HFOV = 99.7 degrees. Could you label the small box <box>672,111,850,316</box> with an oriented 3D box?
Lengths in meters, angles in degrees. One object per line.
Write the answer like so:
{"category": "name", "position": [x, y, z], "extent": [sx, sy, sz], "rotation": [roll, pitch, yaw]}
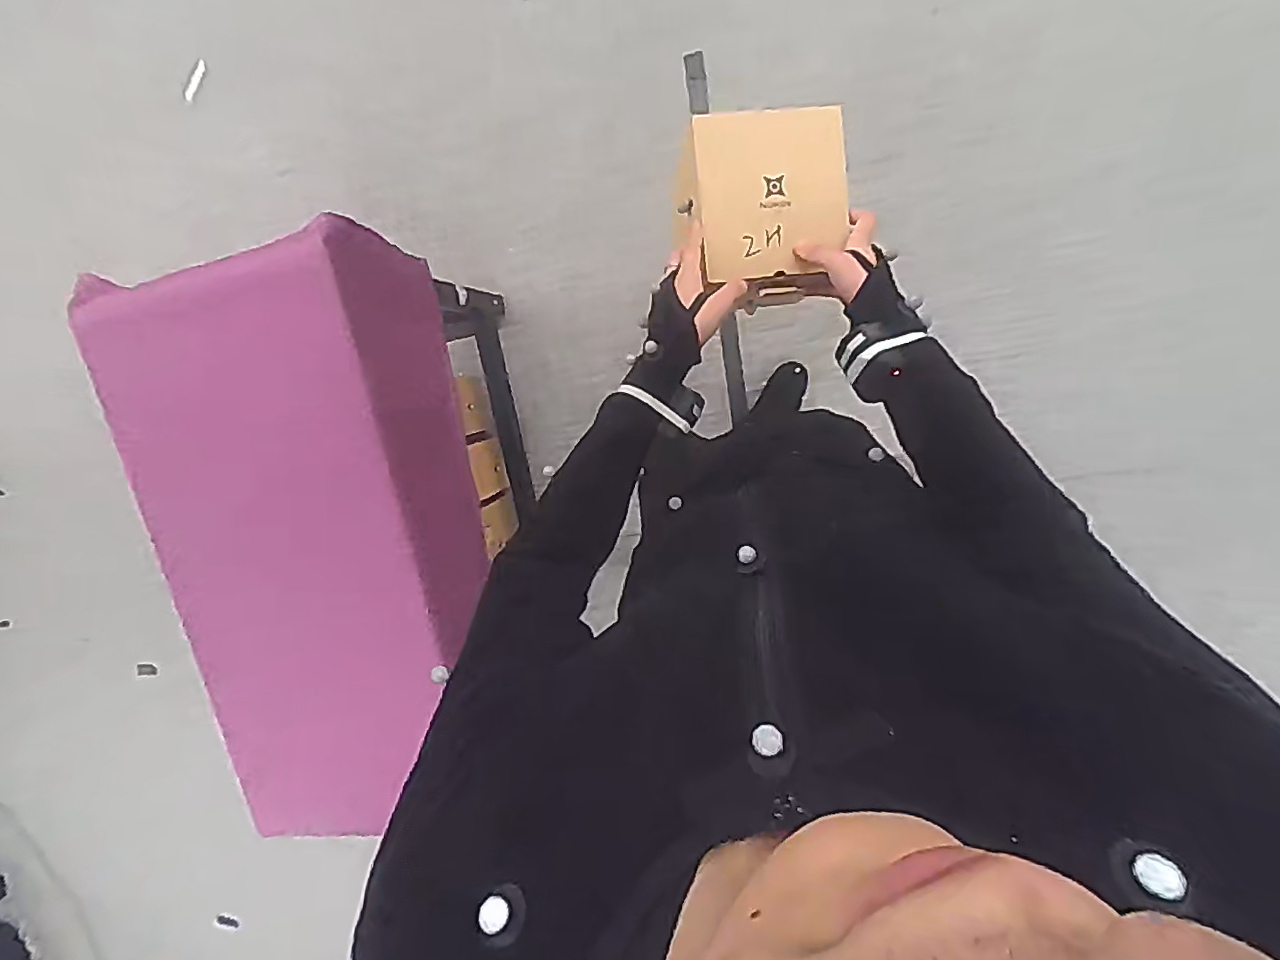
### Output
{"category": "small box", "position": [0.137, -0.312, 0.662], "extent": [0.168, 0.176, 0.179], "rotation": [-7, 97, -4]}
